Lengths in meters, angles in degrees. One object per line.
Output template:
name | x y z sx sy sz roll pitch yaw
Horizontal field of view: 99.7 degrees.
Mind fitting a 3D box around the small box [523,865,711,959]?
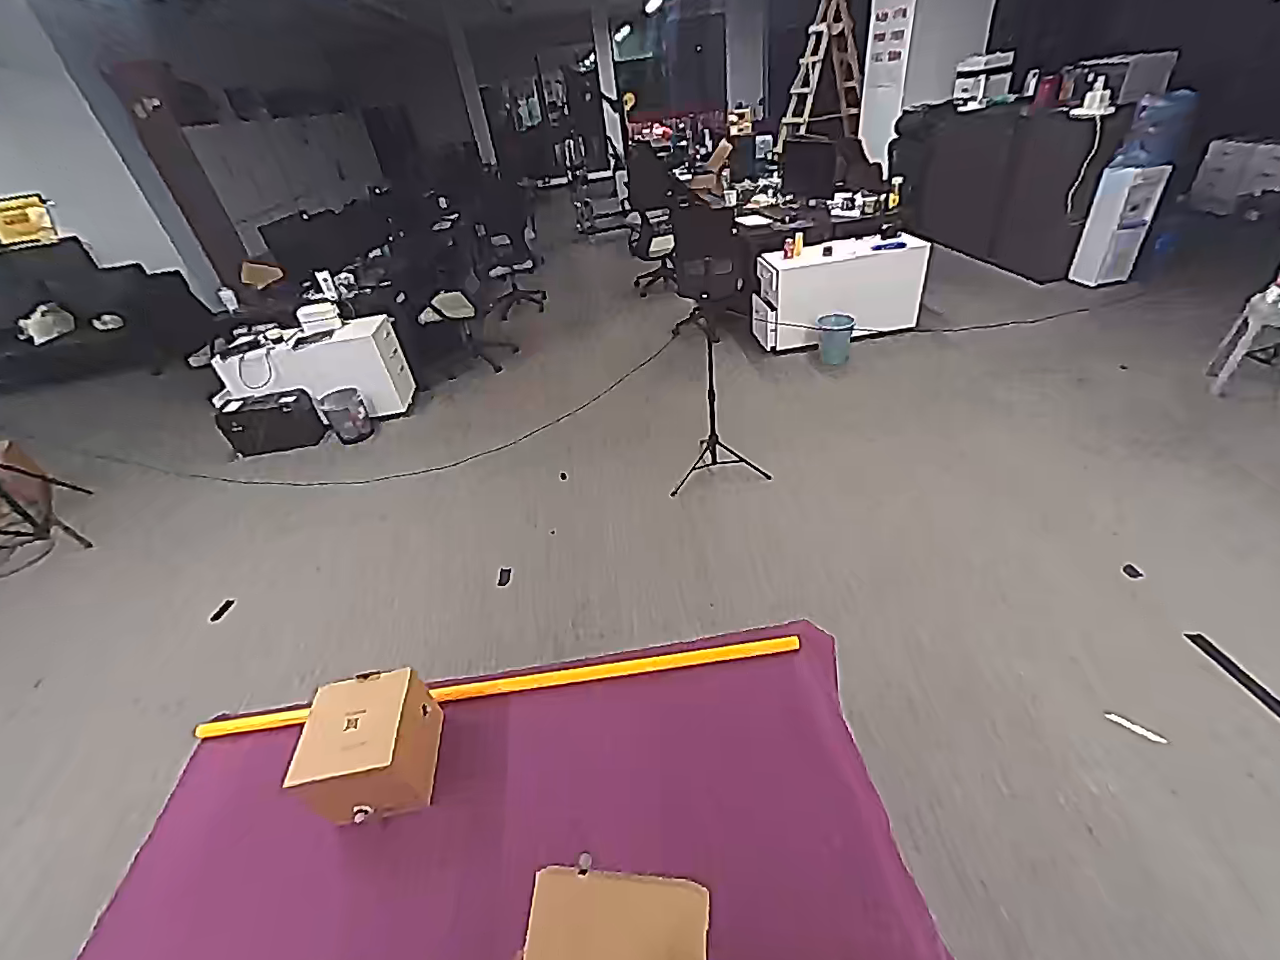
small box | -0.027 0.507 0.558 0.179 0.176 0.168 6 56 0

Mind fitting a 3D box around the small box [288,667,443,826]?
small box | -0.454 0.457 0.931 0.168 0.176 0.179 -11 37 -2
